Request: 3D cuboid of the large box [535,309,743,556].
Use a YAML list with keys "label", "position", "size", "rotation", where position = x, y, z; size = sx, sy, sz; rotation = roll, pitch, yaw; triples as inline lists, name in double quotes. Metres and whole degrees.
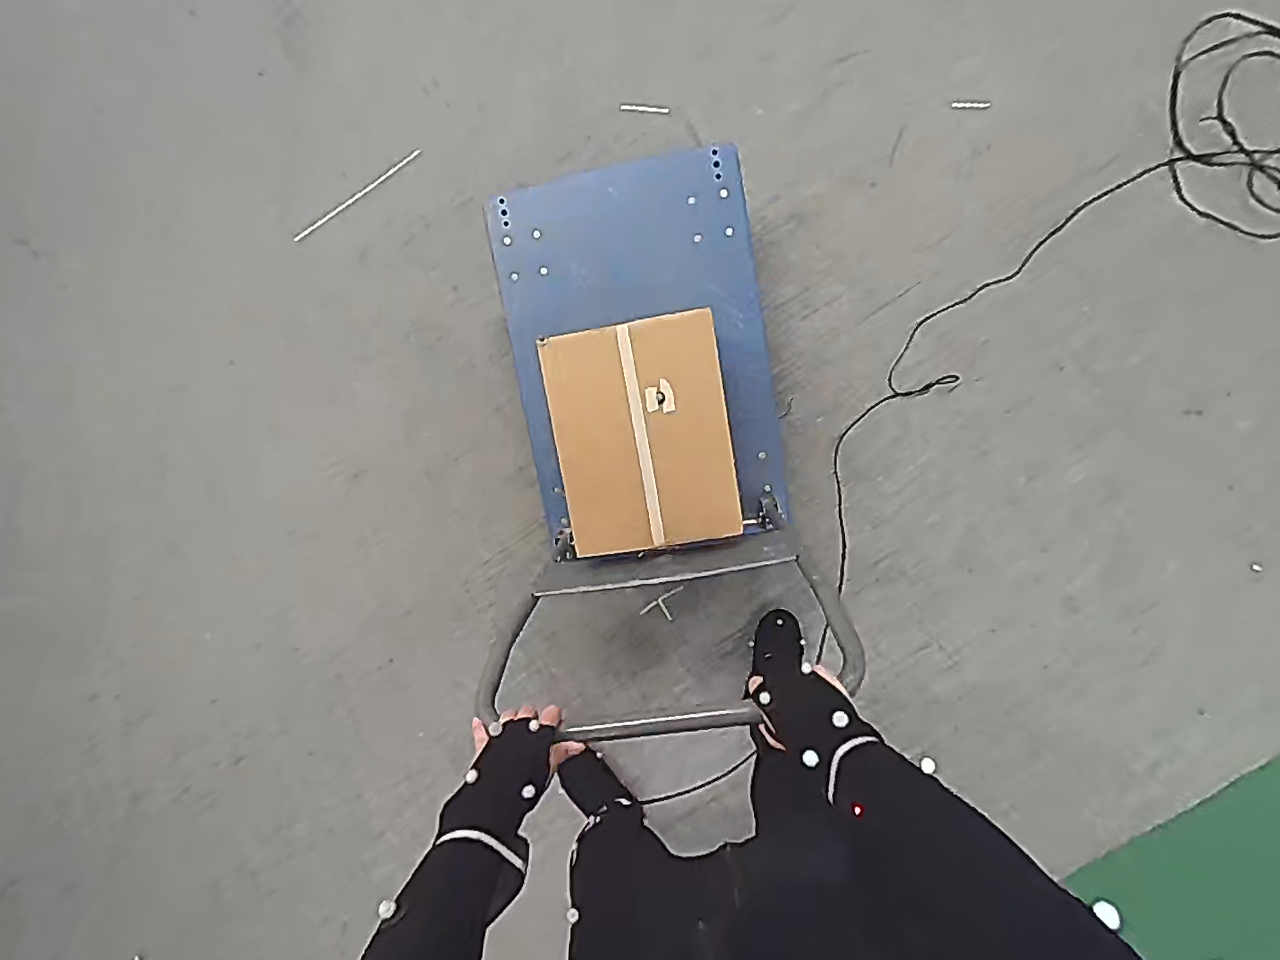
- label: "large box"
  position: [0.014, -0.094, 1.117]
  size: [0.320, 0.320, 0.408]
  rotation: [-10, 96, 6]
